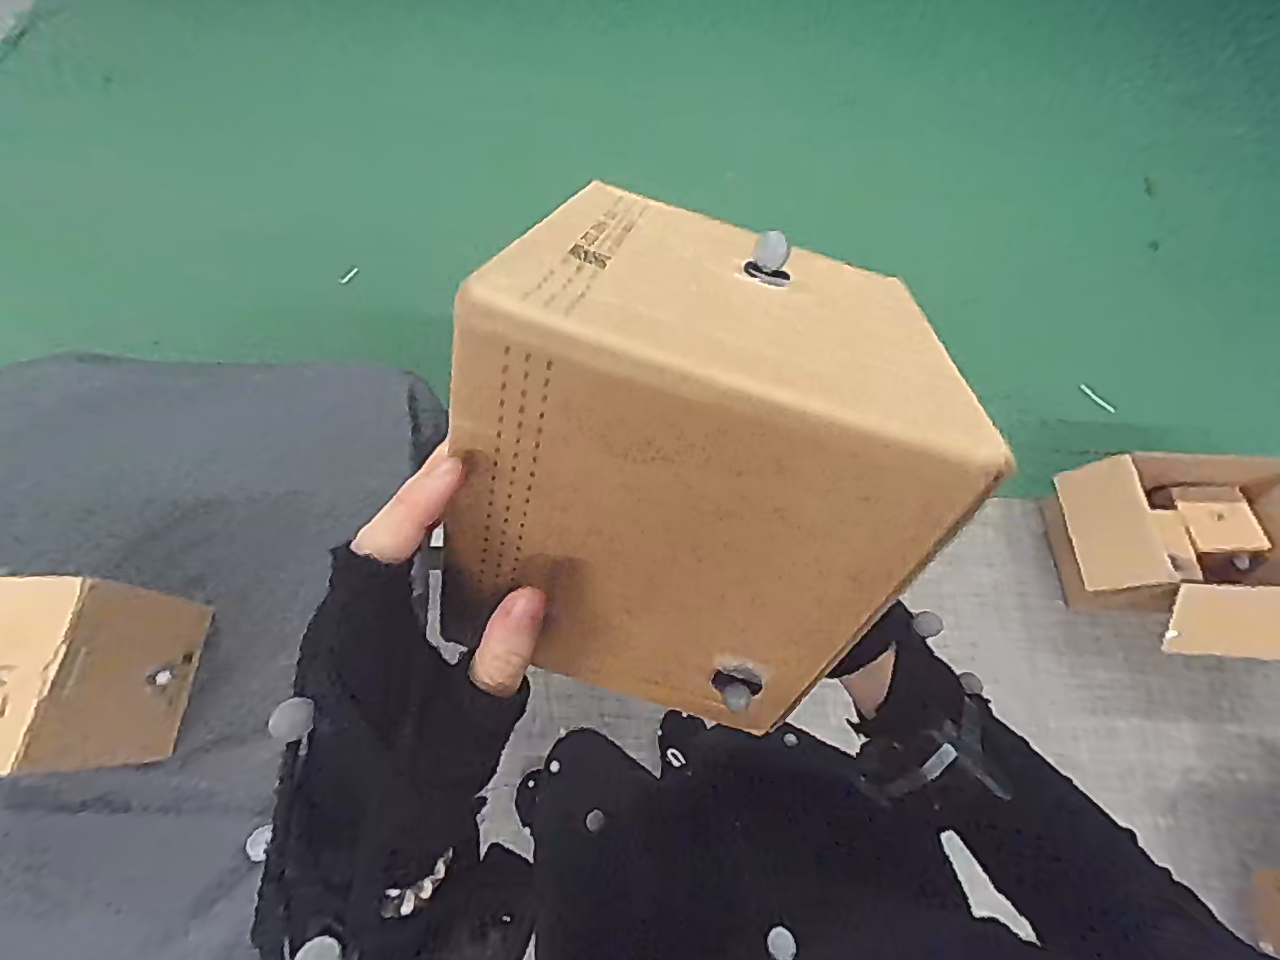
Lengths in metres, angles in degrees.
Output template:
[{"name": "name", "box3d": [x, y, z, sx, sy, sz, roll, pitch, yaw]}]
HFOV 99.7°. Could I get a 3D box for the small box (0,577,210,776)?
[{"name": "small box", "box3d": [-0.597, 0.197, 0.542, 0.179, 0.176, 0.168, 1, 67, -1]}]
